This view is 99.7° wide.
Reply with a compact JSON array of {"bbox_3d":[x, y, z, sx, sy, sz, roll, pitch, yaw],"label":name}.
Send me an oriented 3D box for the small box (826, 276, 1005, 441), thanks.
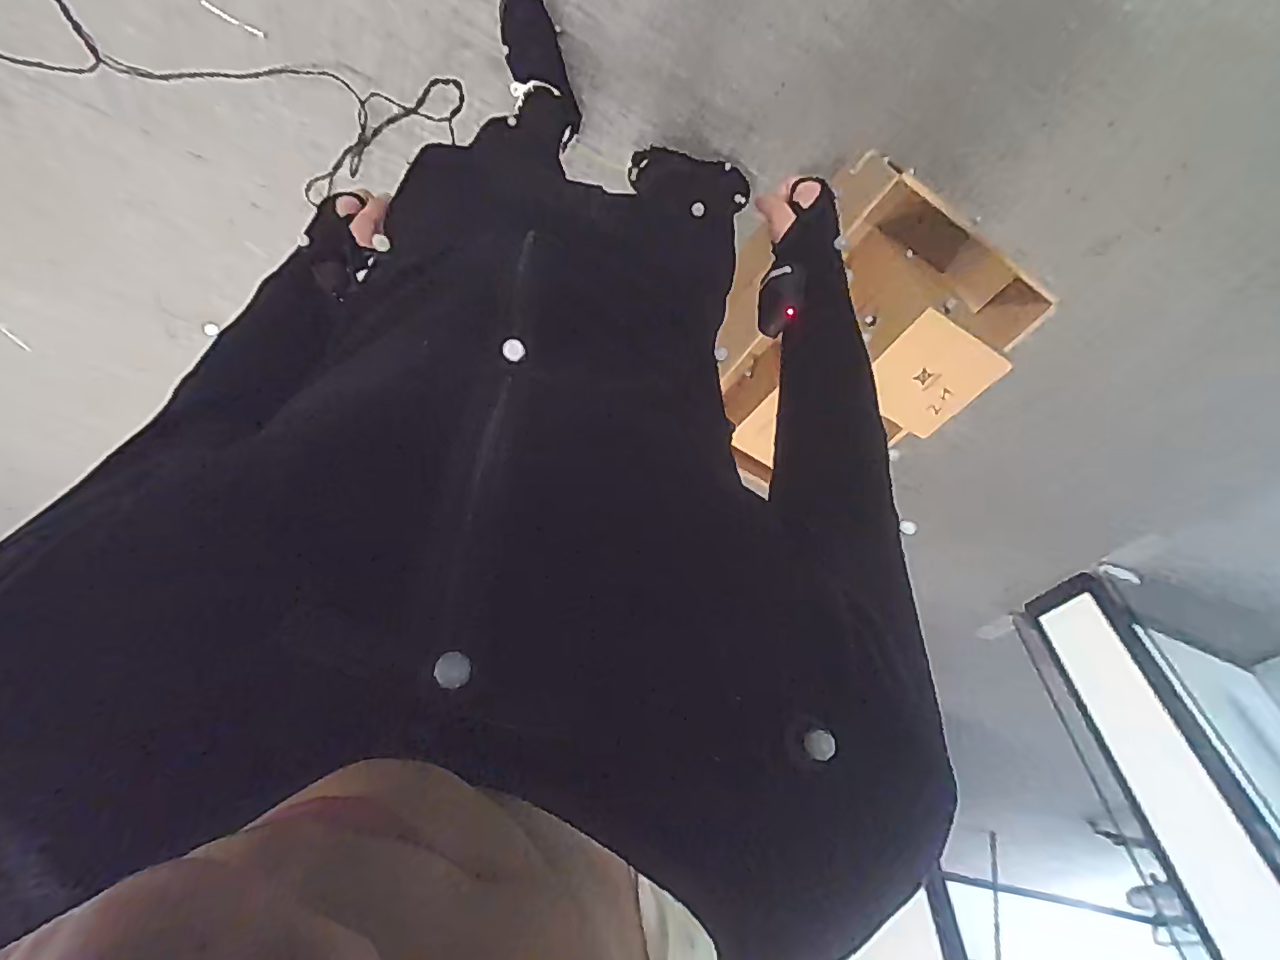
[{"bbox_3d":[0.428,-0.201,0.874,0.179,0.176,0.168,26,131,-17],"label":"small box"}]
